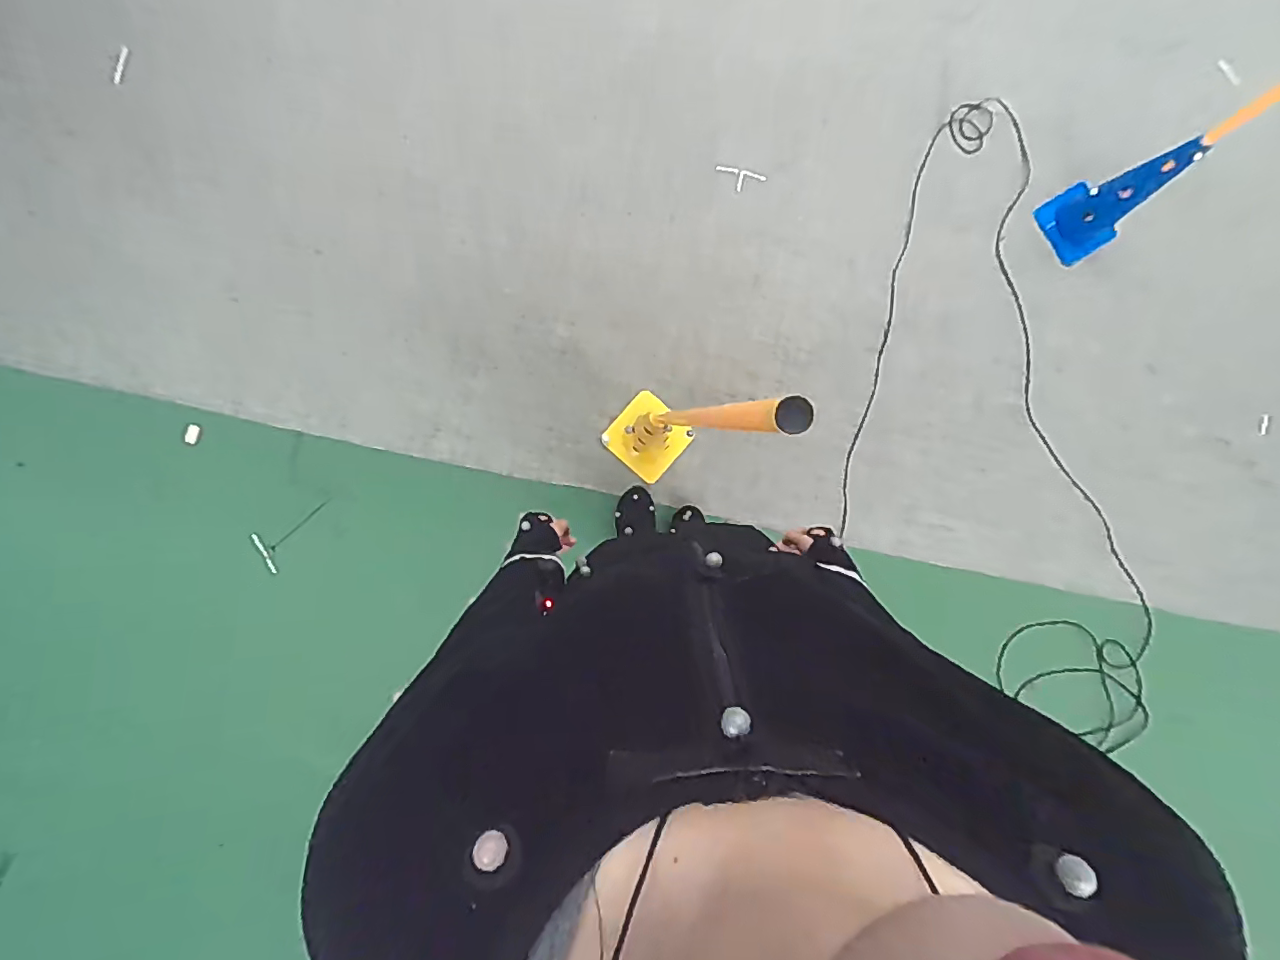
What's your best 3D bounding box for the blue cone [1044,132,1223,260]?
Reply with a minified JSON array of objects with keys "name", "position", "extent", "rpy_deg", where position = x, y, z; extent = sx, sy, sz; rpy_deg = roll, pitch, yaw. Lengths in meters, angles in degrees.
[{"name":"blue cone","position":[1.315,-0.782,1.435],"extent":[0.193,0.380,0.192],"rpy_deg":[-33,89,-6]}]
